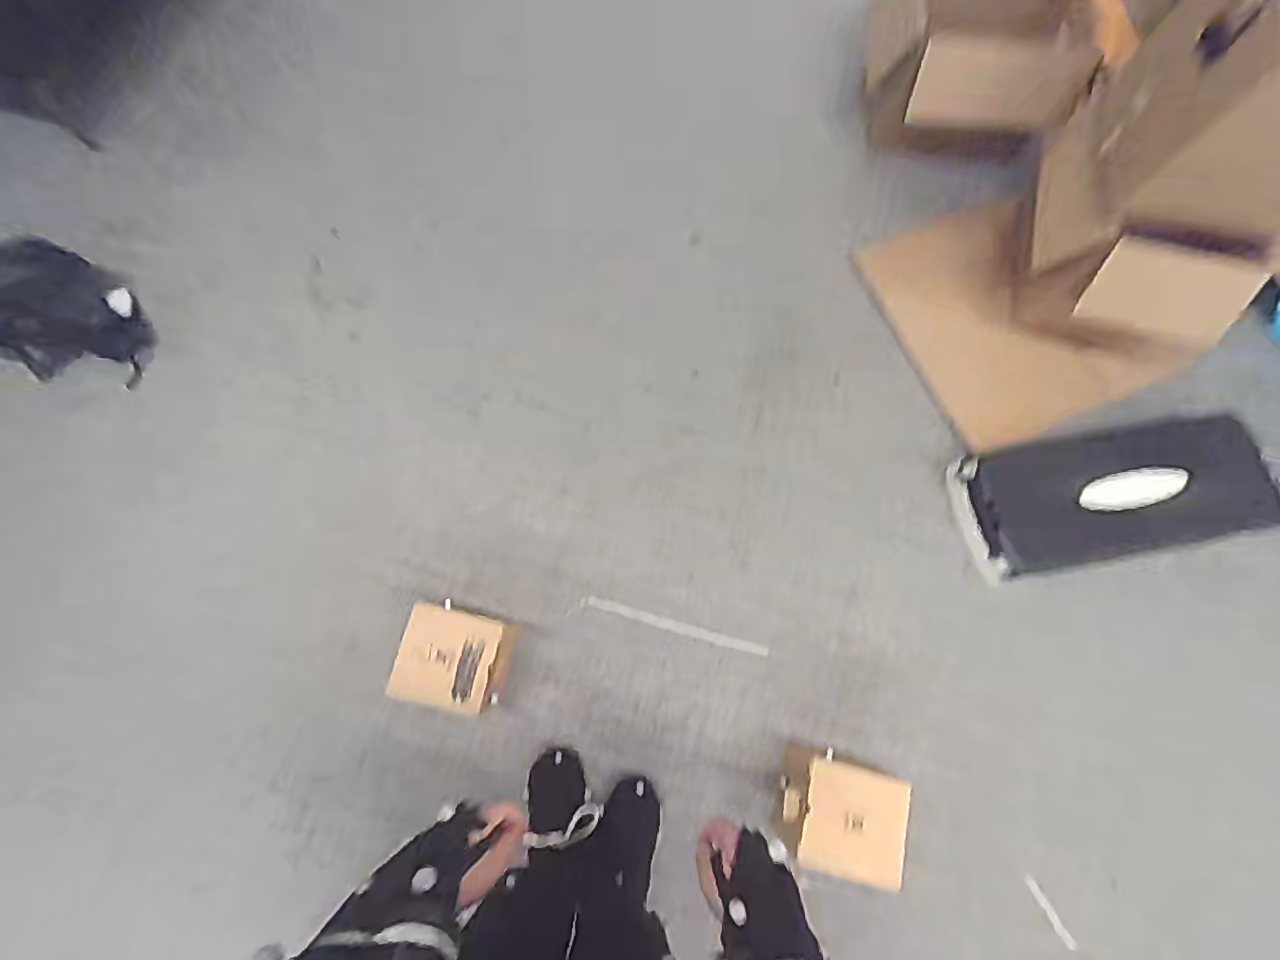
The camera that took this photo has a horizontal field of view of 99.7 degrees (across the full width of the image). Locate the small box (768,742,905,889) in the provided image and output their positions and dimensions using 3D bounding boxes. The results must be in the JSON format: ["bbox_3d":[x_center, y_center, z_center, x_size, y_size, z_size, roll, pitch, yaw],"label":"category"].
[{"bbox_3d":[0.353,0.601,0.994,0.179,0.176,0.168,14,75,3],"label":"small box"}]
